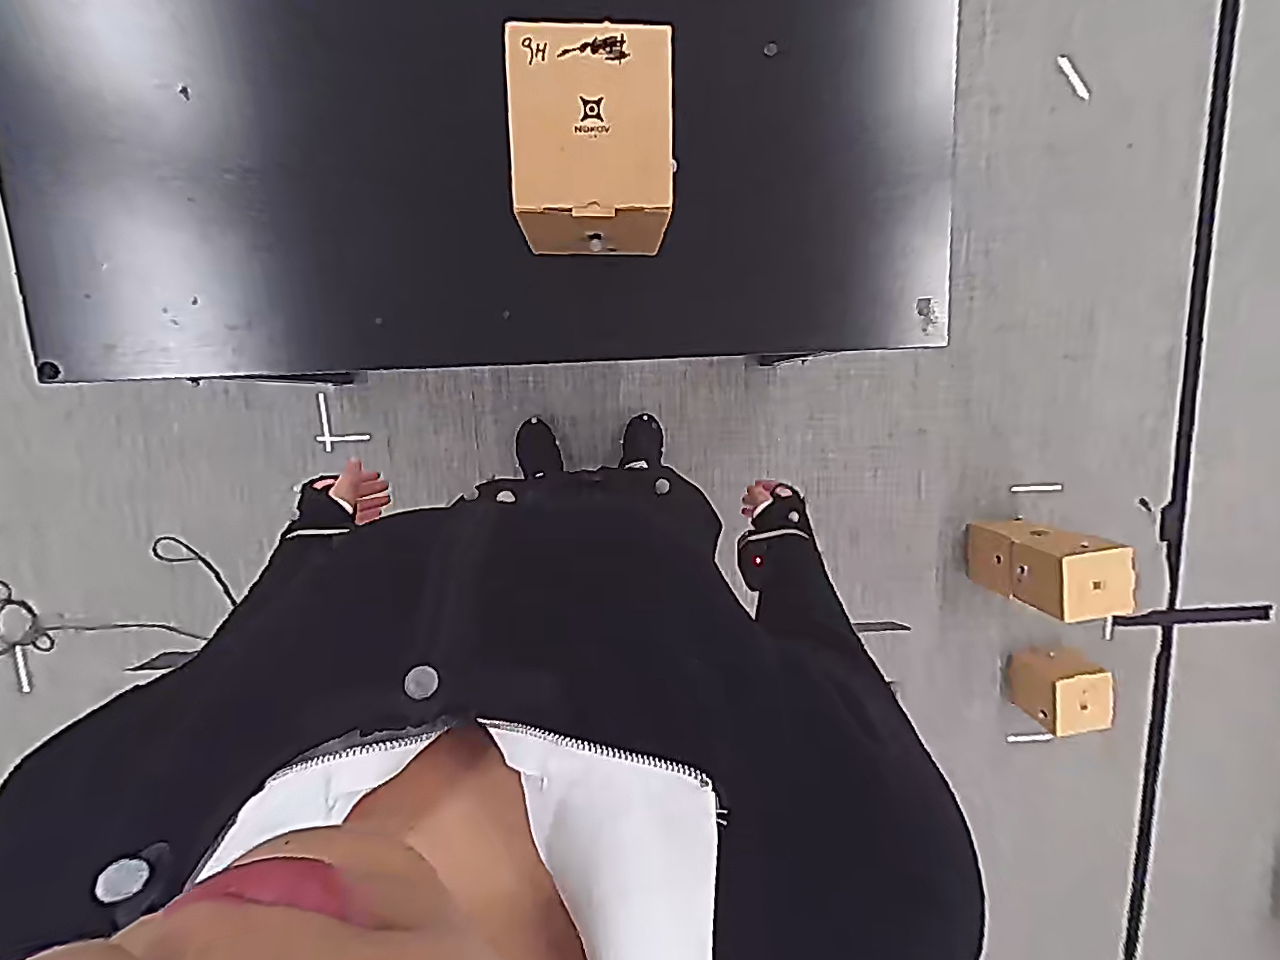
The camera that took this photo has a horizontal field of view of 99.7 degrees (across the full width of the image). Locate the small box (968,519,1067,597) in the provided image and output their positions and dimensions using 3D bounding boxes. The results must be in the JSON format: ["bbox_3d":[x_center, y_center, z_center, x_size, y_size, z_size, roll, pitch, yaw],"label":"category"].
[{"bbox_3d":[1.050,0.211,1.515,0.168,0.176,0.179,-6,99,-3],"label":"small box"}]

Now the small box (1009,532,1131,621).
[{"bbox_3d":[1.071,0.234,1.355,0.179,0.176,0.168,-9,98,-1],"label":"small box"}]

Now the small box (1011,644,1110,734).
[{"bbox_3d":[1.228,0.610,1.588,0.168,0.176,0.179,-9,99,-2],"label":"small box"}]

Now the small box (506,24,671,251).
[{"bbox_3d":[-0.054,-0.373,0.624,0.168,0.176,0.179,-1,99,-3],"label":"small box"}]
